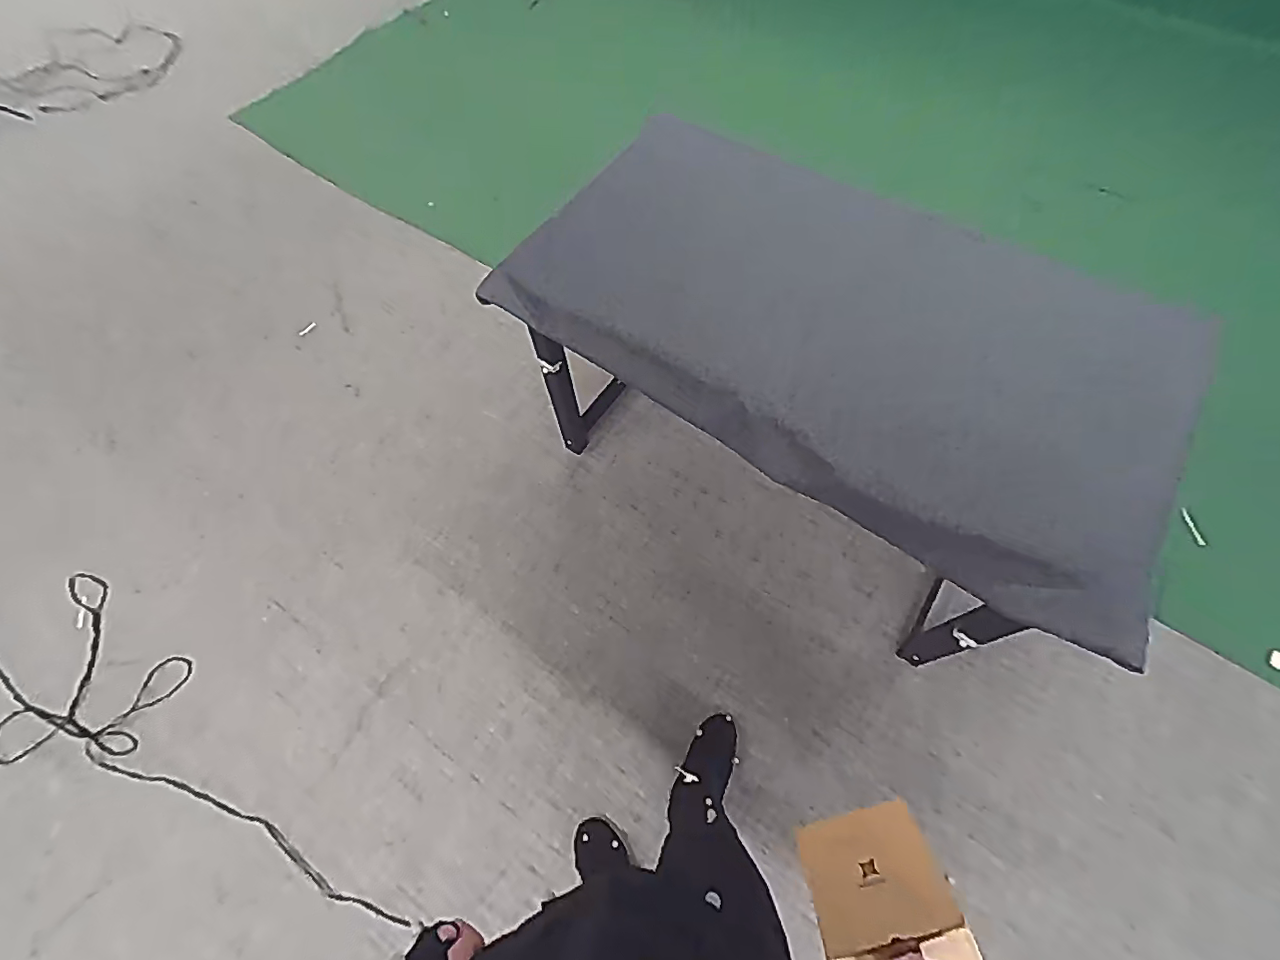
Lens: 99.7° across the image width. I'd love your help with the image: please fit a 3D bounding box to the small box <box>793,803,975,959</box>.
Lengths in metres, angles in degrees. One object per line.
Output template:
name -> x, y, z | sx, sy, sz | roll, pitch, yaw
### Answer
small box -> 0.322, 0.578, 0.706 | 0.168, 0.179, 0.176 | -21, 101, 8
